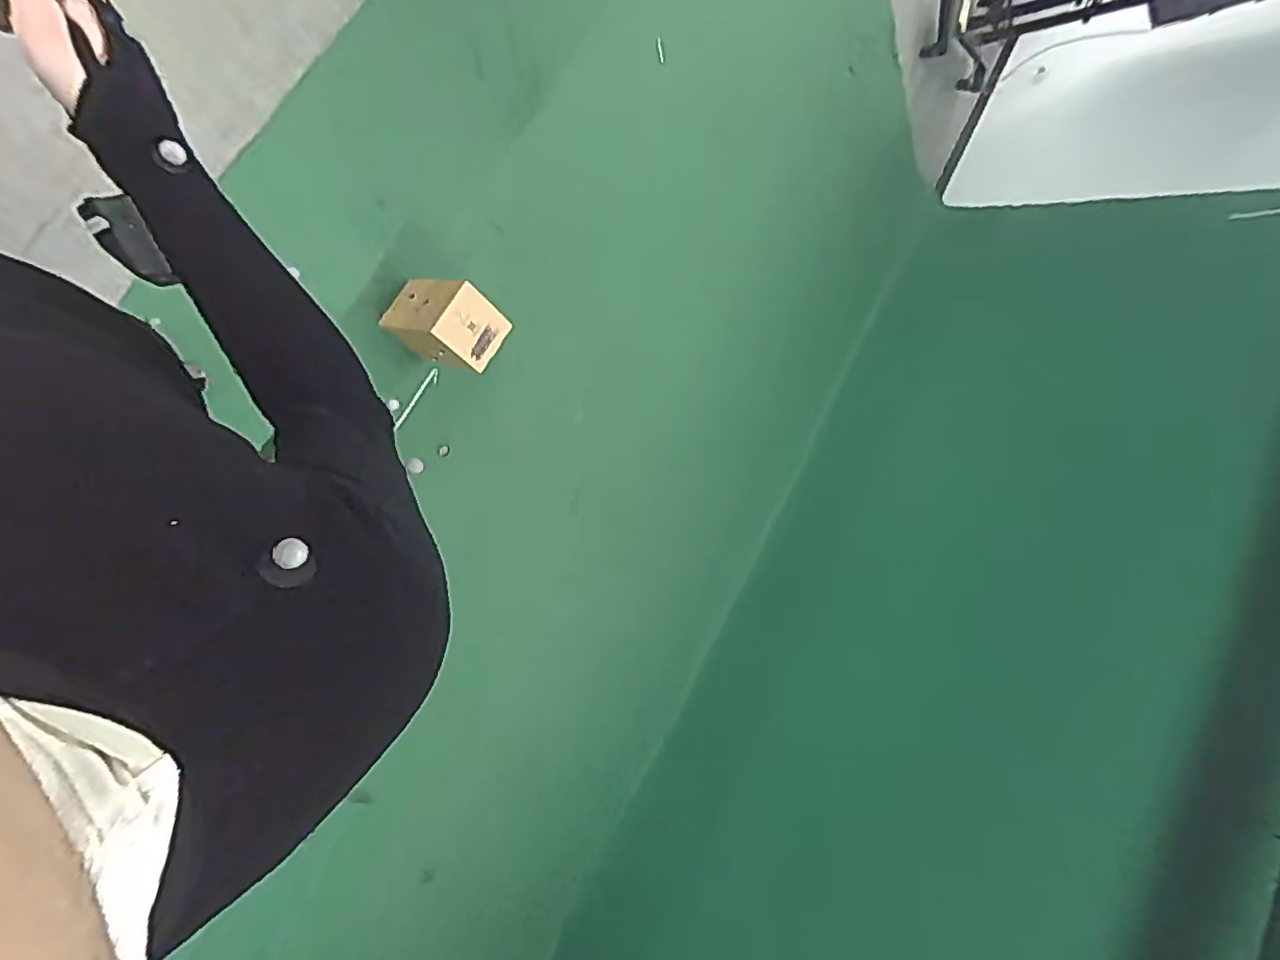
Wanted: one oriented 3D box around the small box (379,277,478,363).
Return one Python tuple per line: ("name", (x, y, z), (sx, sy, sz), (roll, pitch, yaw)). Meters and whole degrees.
("small box", (-0.612, -0.459, 1.558), (0.179, 0.176, 0.168), (41, 73, -48))
